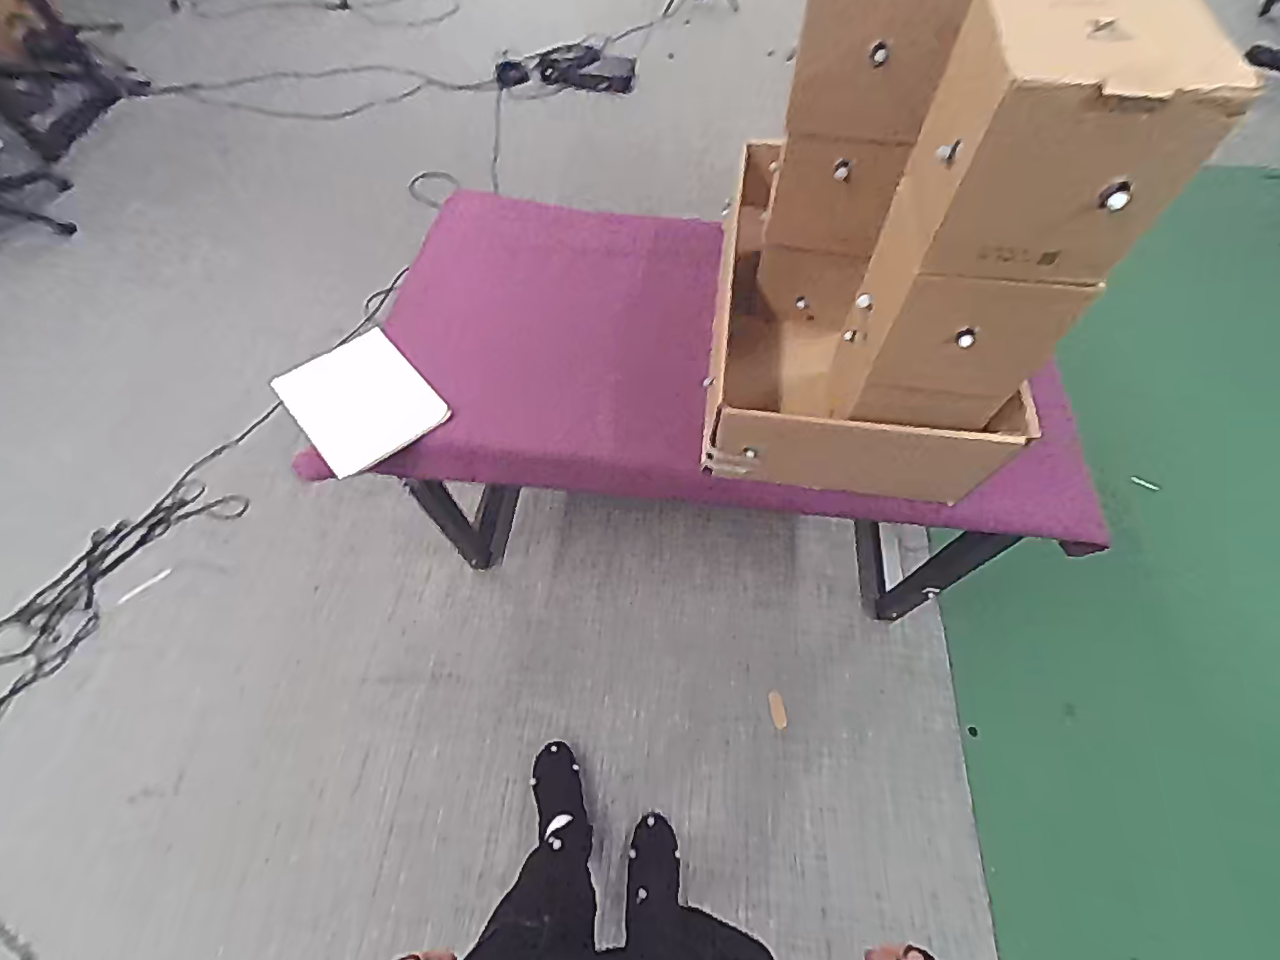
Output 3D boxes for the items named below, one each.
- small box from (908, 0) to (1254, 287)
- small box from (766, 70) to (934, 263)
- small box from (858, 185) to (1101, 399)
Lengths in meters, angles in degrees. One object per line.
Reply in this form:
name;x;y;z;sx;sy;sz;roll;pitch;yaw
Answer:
small box;0.362;-0.300;0.492;0.168;0.176;0.179;8;60;7
small box;0.288;-0.434;0.763;0.179;0.176;0.168;11;64;8
small box;0.370;-0.212;0.629;0.179;0.176;0.168;7;60;8
